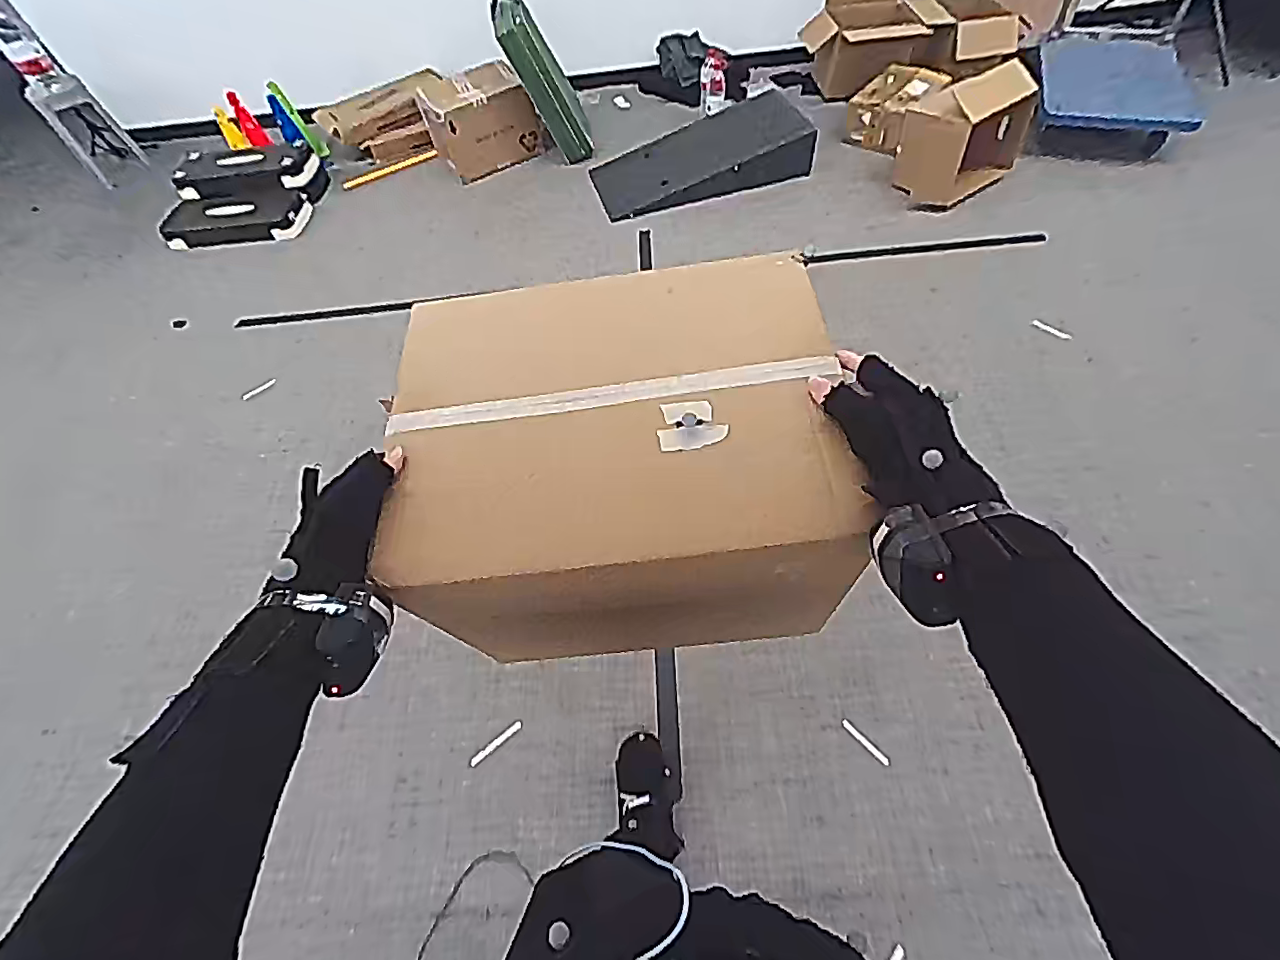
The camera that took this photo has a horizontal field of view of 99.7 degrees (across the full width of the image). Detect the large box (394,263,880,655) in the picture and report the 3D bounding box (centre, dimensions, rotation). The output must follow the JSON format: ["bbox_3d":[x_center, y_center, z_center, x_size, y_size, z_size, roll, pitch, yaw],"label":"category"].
[{"bbox_3d":[-0.006,-0.001,0.633,0.408,0.320,0.320,-7,61,3],"label":"large box"}]
